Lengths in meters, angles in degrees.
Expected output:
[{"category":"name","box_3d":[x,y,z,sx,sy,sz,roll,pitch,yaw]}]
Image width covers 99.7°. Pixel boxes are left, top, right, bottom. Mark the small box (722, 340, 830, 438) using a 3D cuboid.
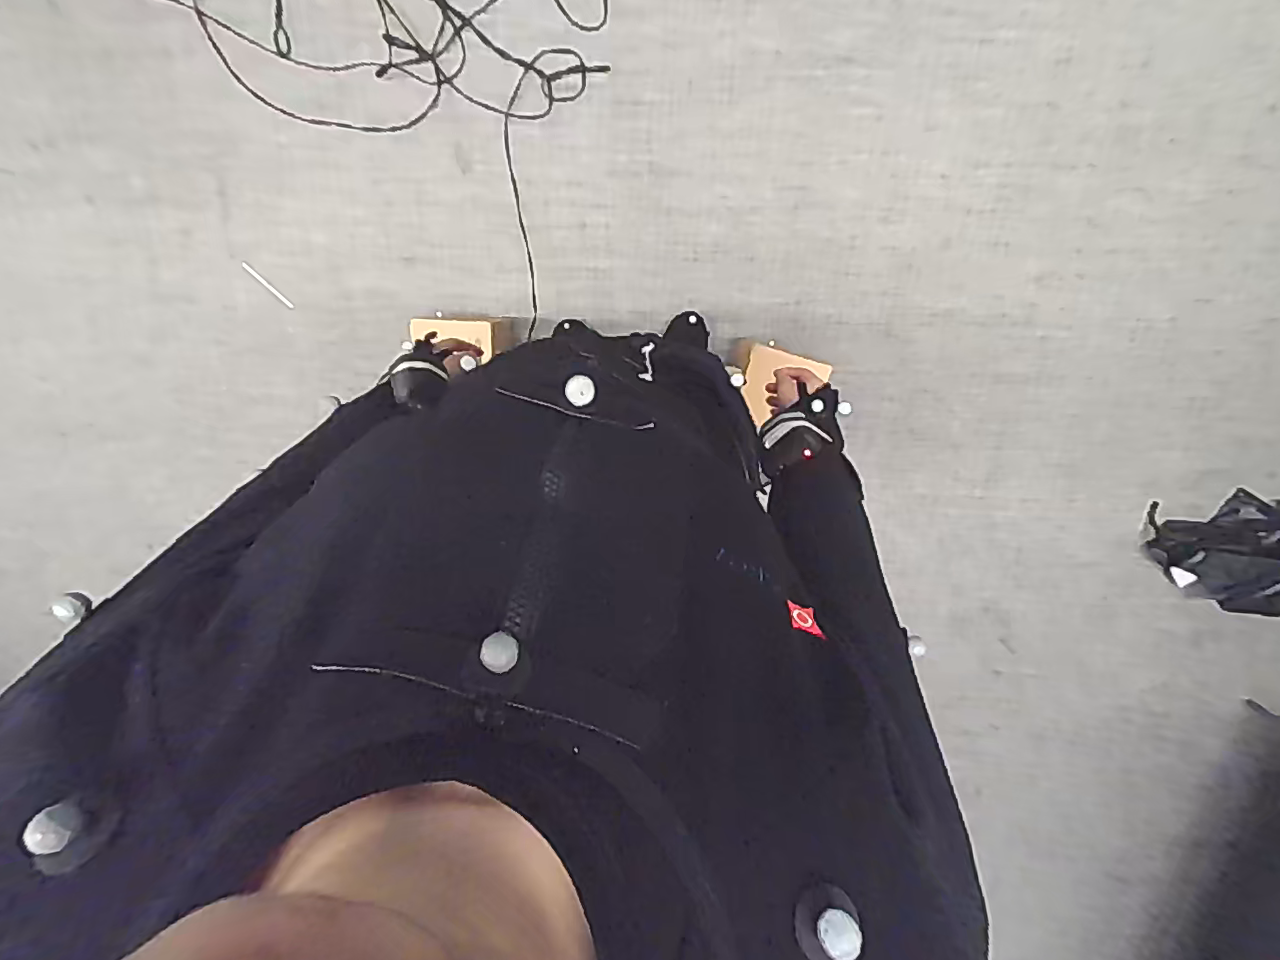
[{"category":"small box","box_3d":[0.299,-0.213,1.230,0.179,0.176,0.168,15,109,-3]}]
